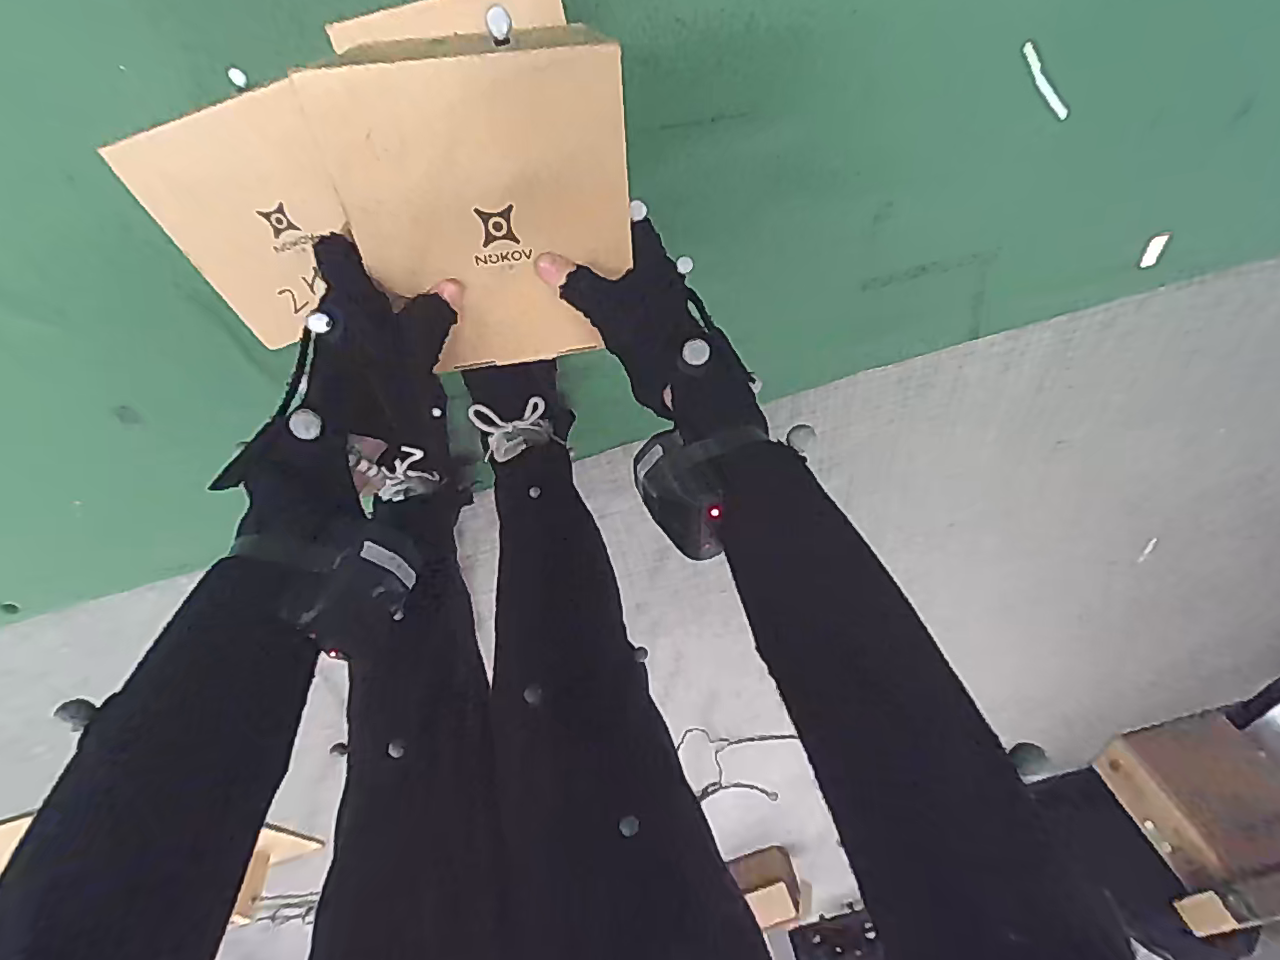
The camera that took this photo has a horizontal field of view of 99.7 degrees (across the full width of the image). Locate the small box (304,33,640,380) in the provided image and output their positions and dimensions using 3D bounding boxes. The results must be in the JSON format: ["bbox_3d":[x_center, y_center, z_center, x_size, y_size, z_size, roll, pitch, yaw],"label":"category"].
[{"bbox_3d":[-0.101,-0.201,0.387,0.168,0.176,0.179,-11,135,-6],"label":"small box"}]
